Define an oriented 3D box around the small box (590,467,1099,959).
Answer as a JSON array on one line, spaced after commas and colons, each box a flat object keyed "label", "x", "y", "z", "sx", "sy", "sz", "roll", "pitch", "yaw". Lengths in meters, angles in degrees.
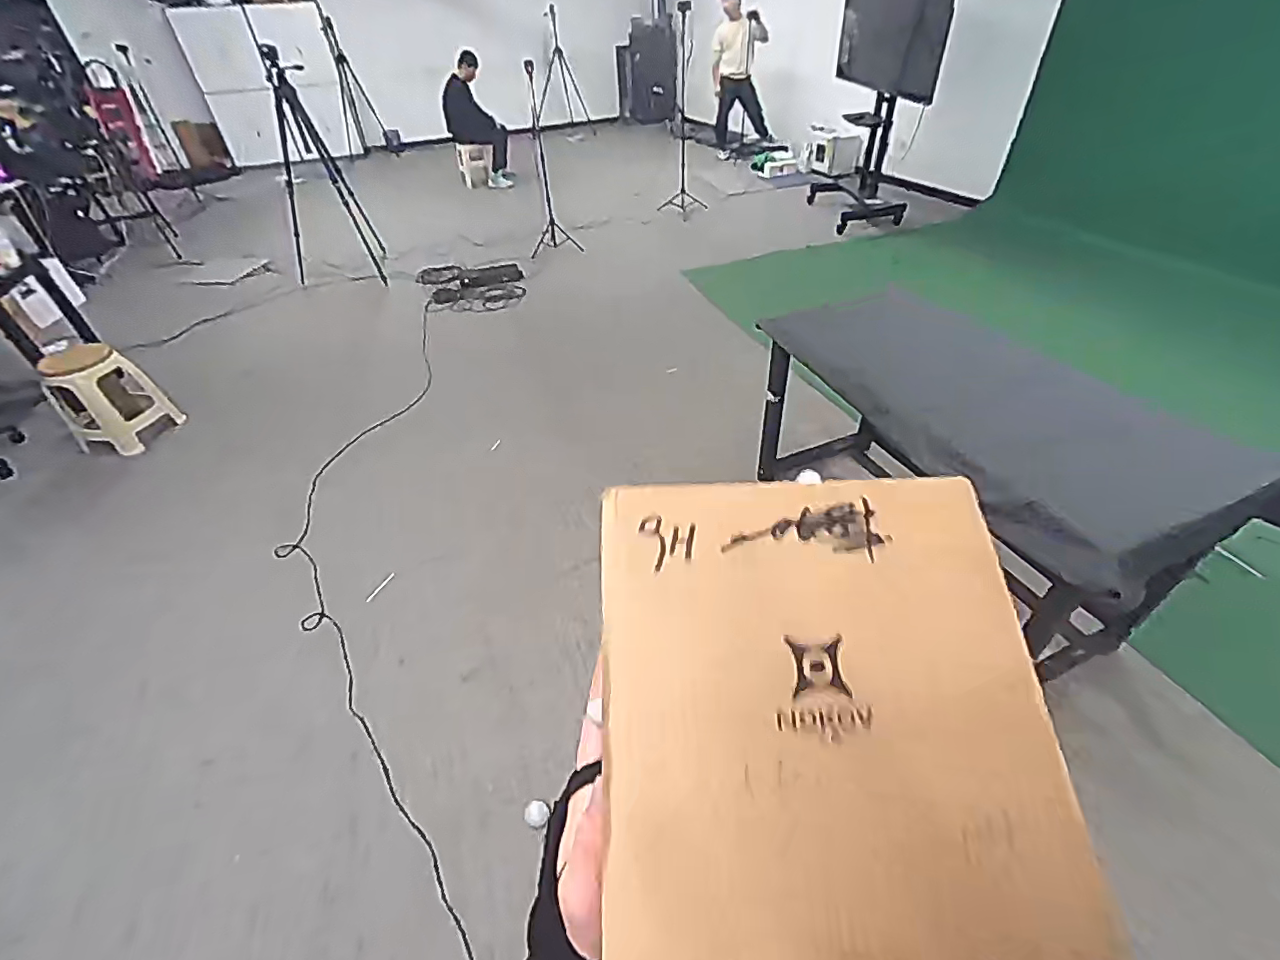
[{"label": "small box", "x": 0.064, "y": 0.106, "z": 0.278, "sx": 0.168, "sy": 0.176, "sz": 0.179, "roll": 0, "pitch": 65, "yaw": -2}]
